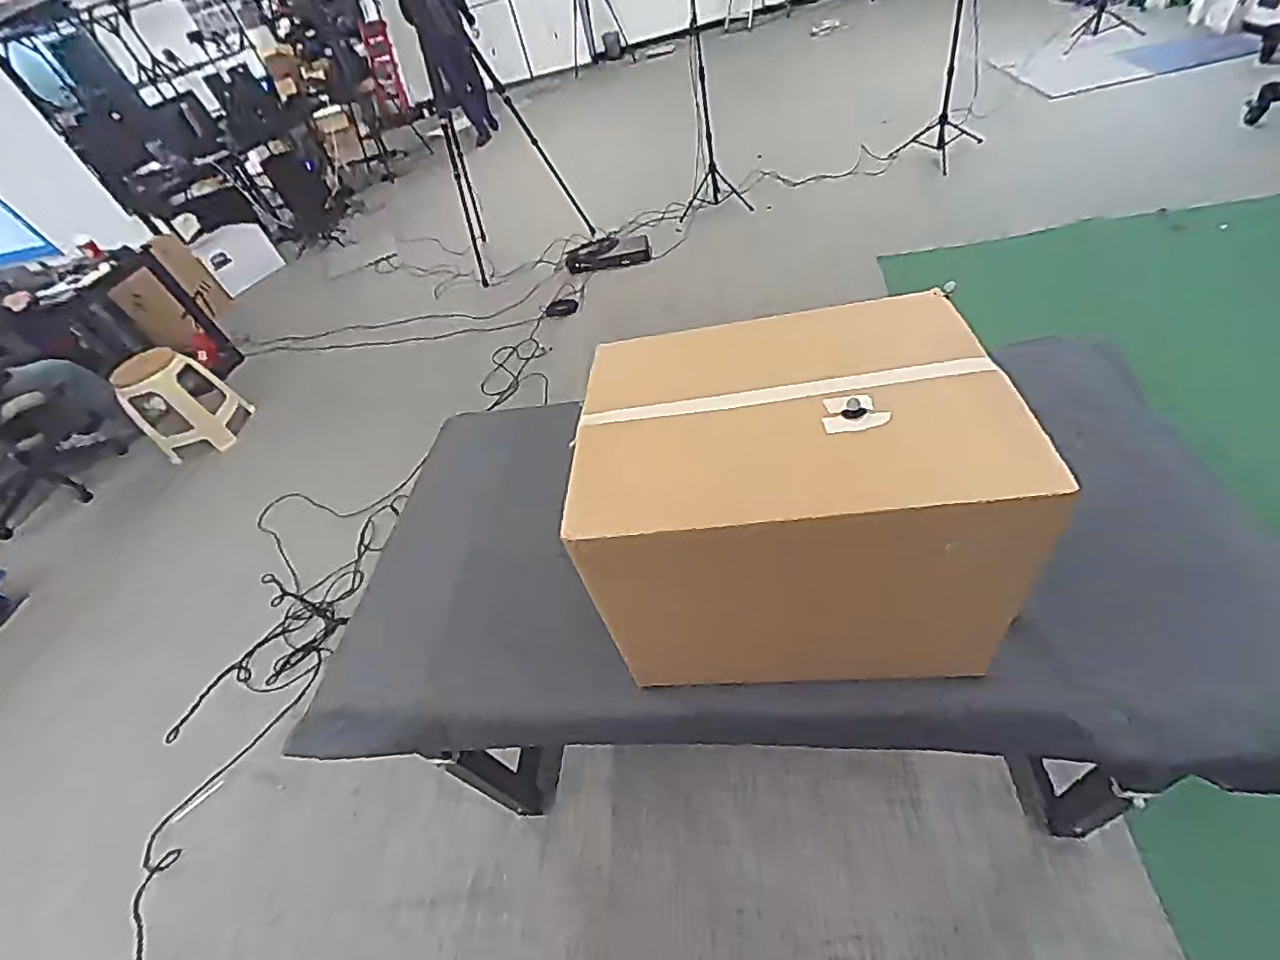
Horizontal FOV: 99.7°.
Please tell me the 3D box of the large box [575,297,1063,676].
[{"bbox_3d":[0.168,0.021,0.654,0.408,0.320,0.320,-6,46,10],"label":"large box"}]
